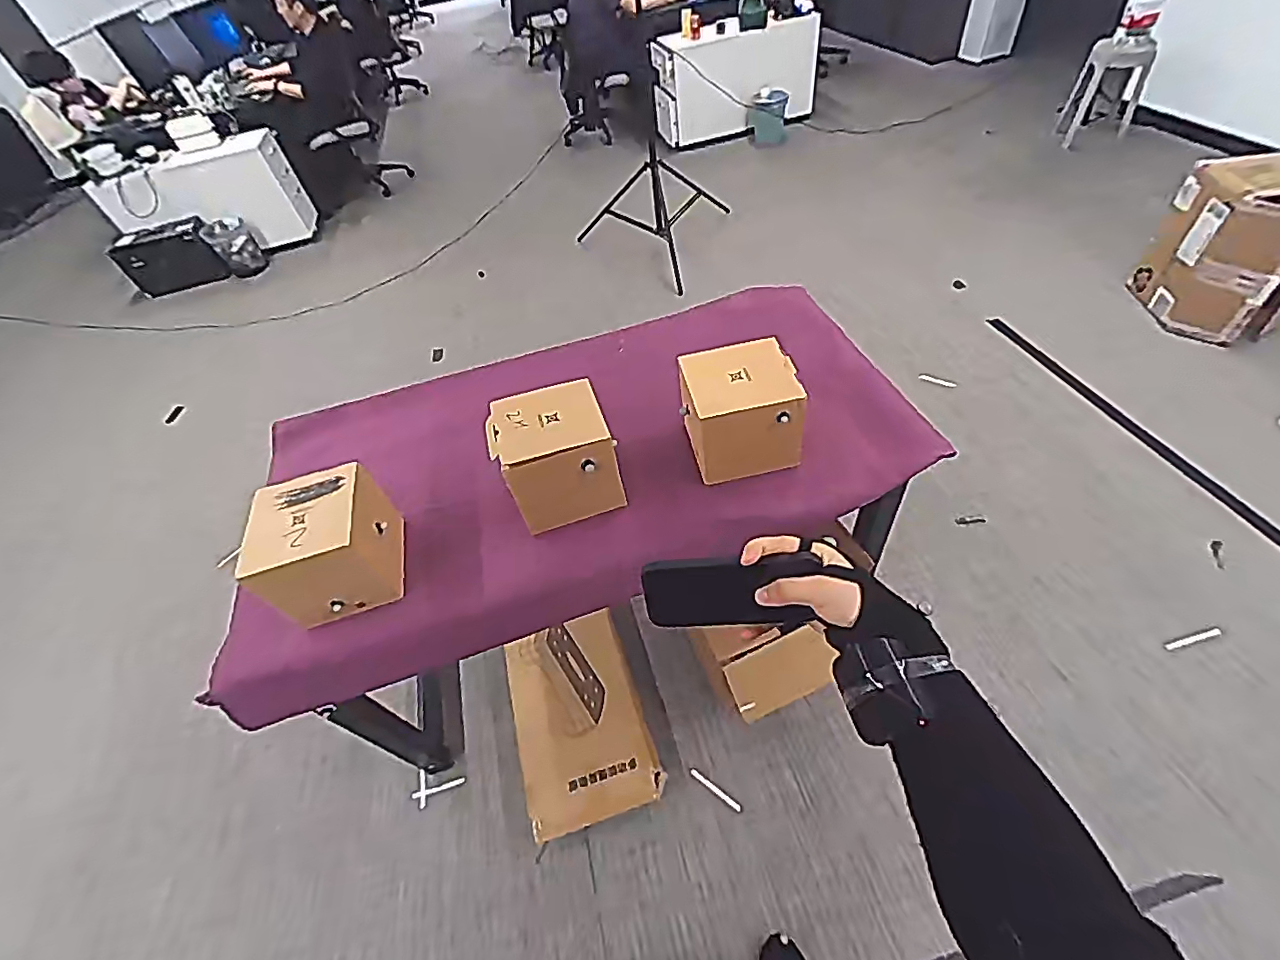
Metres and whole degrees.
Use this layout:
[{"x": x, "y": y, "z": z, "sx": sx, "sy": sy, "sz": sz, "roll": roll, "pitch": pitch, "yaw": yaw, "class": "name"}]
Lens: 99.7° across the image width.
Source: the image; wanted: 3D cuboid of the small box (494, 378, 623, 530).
[{"x": -0.134, "y": -0.043, "z": 0.929, "sx": 0.179, "sy": 0.176, "sz": 0.168, "roll": -18, "pitch": 47, "yaw": -5, "class": "small box"}]

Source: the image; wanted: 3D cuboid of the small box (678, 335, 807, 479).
[{"x": 0.174, "y": -0.122, "z": 0.945, "sx": 0.179, "sy": 0.176, "sz": 0.168, "roll": -12, "pitch": 49, "yaw": -1, "class": "small box"}]
